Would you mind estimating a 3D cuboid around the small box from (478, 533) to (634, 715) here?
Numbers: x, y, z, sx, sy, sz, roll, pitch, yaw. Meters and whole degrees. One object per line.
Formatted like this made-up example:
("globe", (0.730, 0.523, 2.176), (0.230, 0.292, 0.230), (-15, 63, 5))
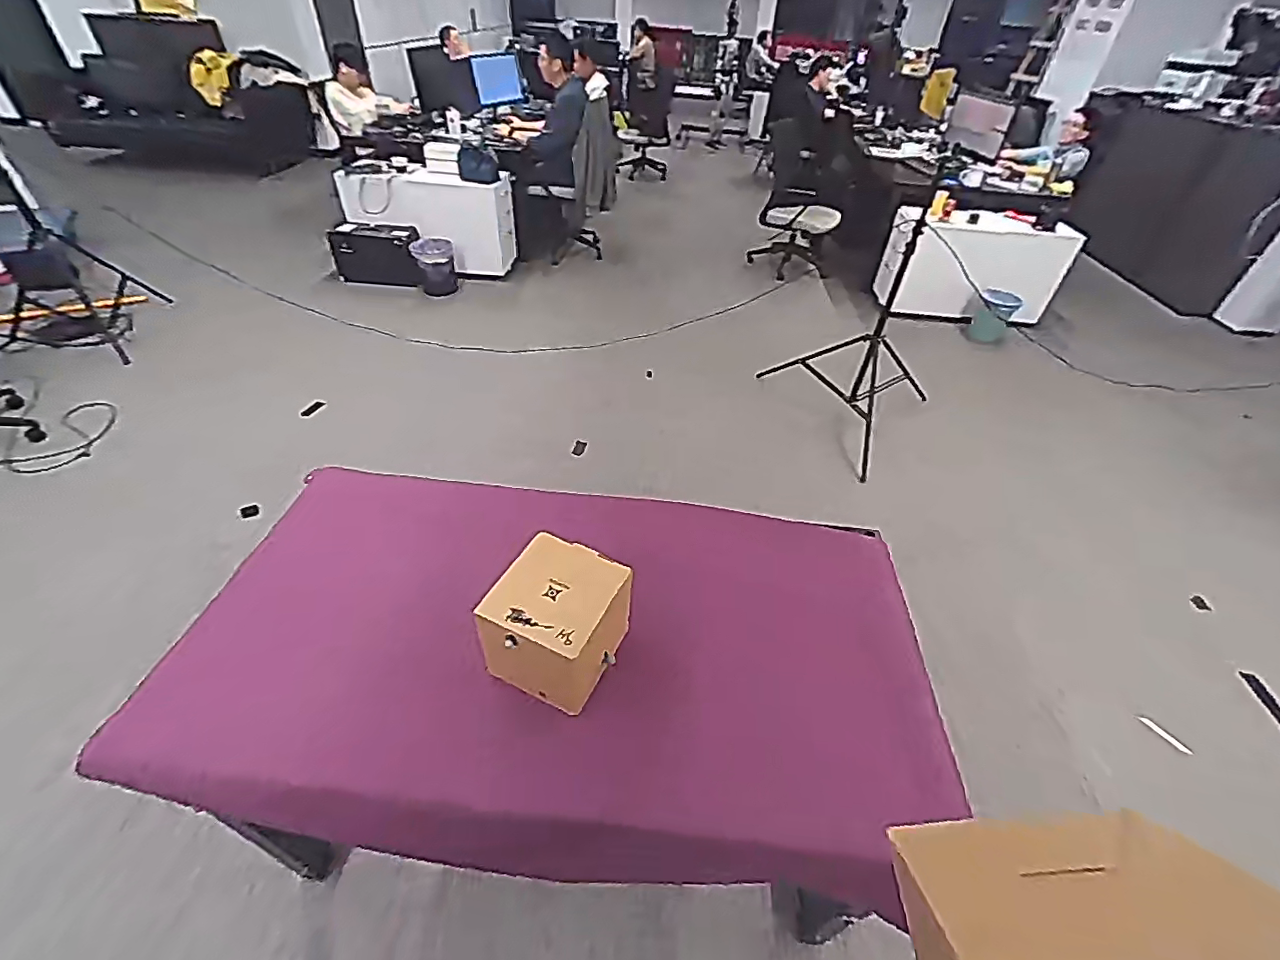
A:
("small box", (-0.124, 0.219, 0.834), (0.168, 0.176, 0.179), (20, 43, 17))
